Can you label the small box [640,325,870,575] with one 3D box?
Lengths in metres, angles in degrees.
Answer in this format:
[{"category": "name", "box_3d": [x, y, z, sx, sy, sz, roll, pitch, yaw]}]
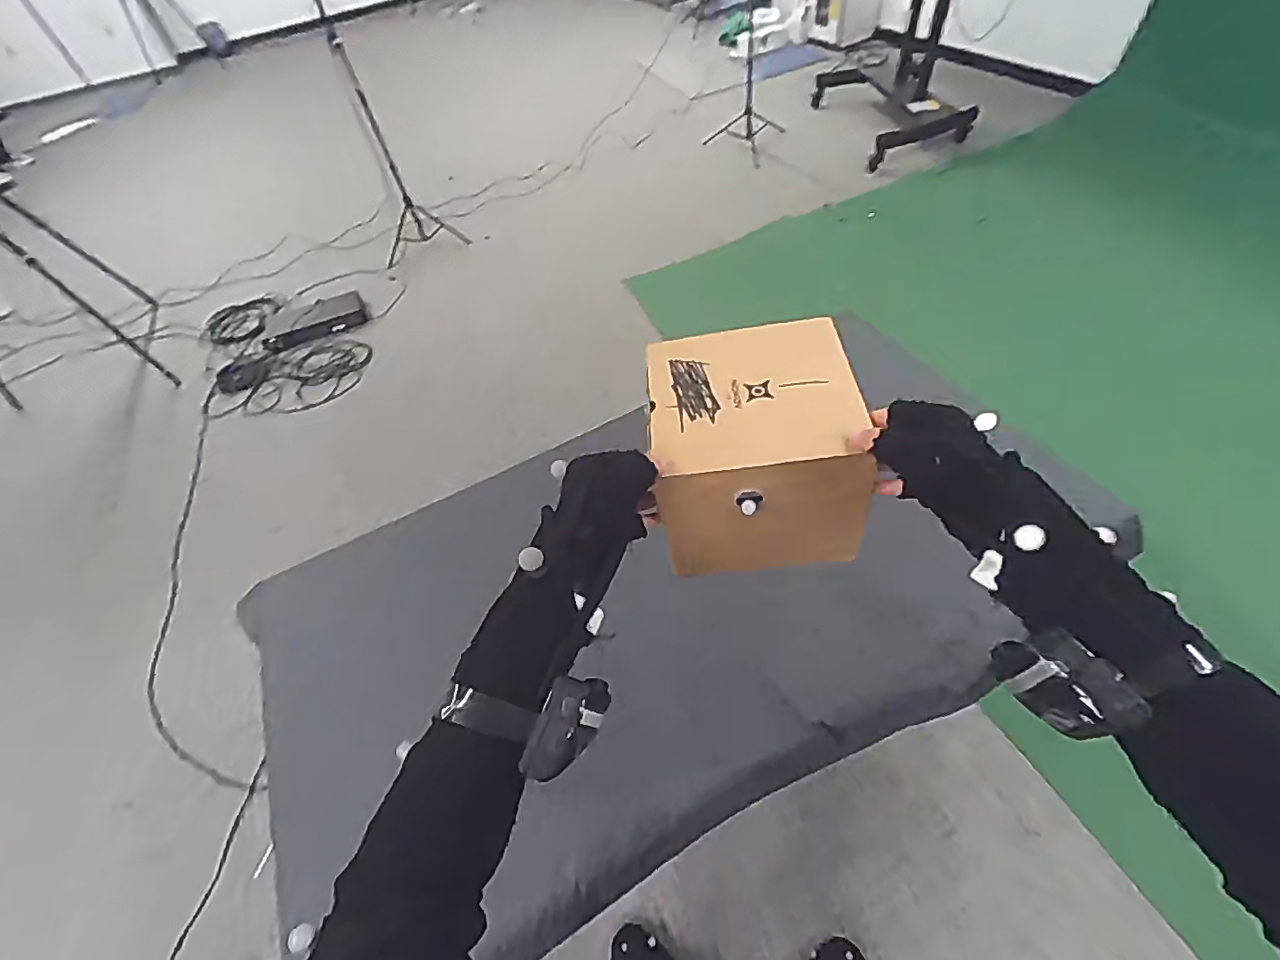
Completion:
[{"category": "small box", "box_3d": [0.100, -0.021, 0.522, 0.179, 0.176, 0.168, -7, 51, 6]}]
